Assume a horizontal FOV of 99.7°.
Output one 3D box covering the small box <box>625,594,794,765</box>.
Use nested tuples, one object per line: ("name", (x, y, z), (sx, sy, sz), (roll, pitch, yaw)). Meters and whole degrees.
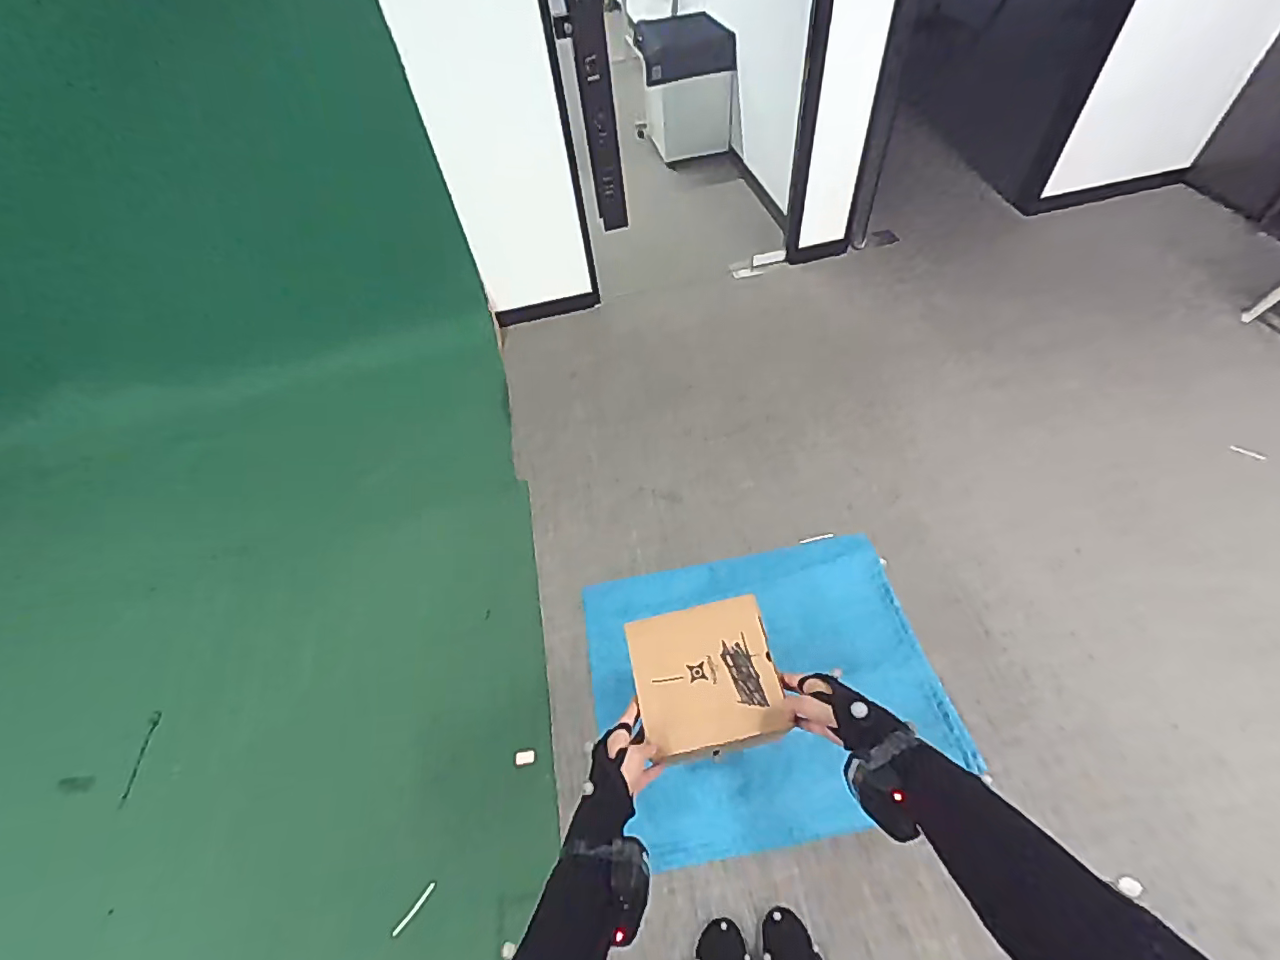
("small box", (0.086, 0.272, 0.725), (0.179, 0.176, 0.168), (-13, 58, 0))
